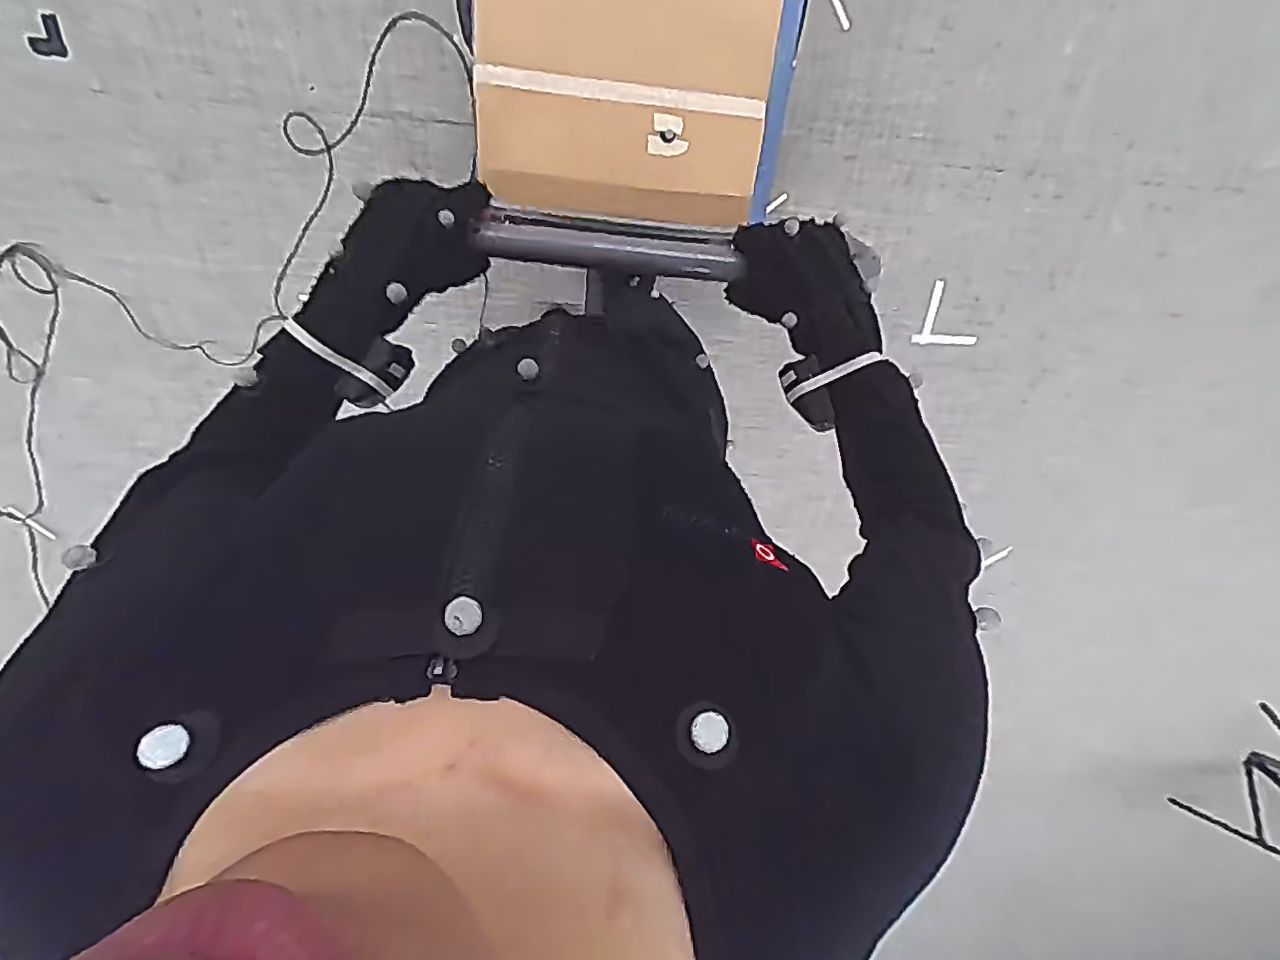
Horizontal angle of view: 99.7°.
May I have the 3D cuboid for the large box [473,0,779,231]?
[{"bbox_3d":[-0.035,-0.594,0.878,0.408,0.320,0.320,4,114,-6],"label":"large box"}]
